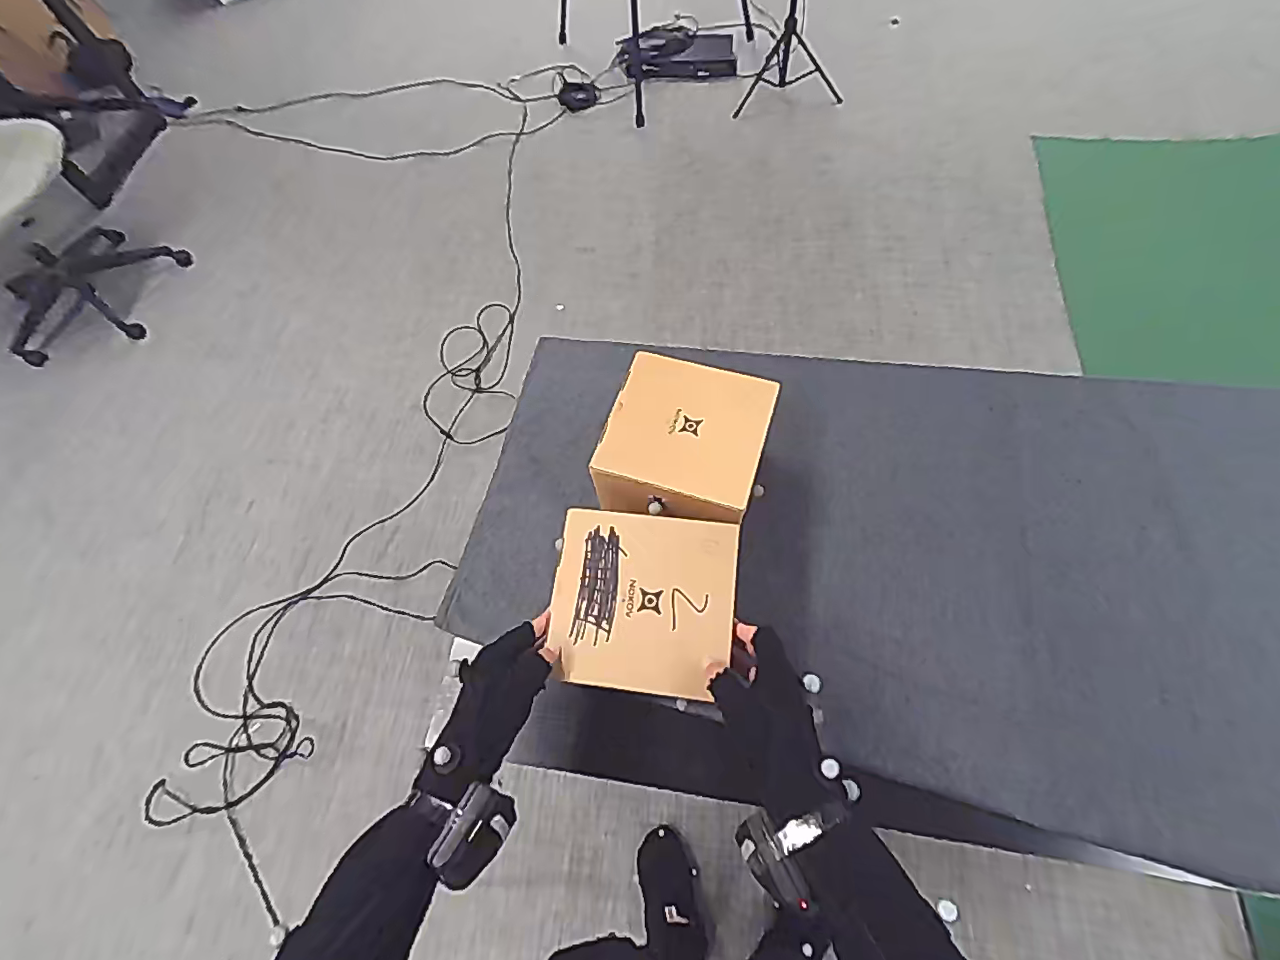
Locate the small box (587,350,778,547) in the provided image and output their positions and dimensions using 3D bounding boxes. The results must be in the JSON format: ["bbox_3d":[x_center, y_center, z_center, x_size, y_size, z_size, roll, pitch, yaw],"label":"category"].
[{"bbox_3d":[0.056,-0.030,0.670,0.179,0.176,0.168,15,67,12],"label":"small box"}]
